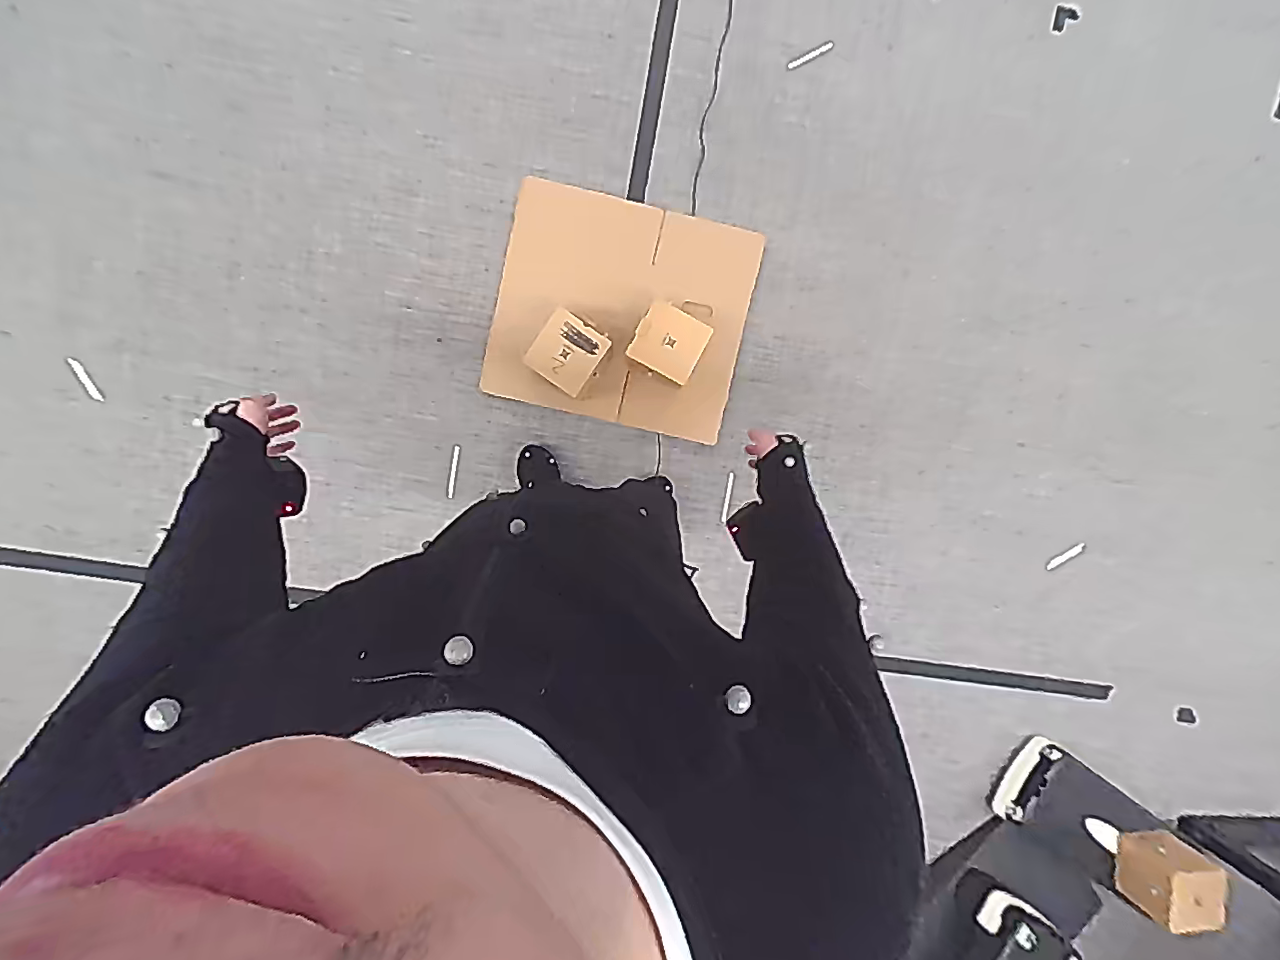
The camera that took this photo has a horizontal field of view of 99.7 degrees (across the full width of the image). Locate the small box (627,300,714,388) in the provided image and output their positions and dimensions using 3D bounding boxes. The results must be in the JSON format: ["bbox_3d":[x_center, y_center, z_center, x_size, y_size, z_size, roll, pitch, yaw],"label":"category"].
[{"bbox_3d":[0.080,-0.360,1.472,0.179,0.176,0.168,28,94,-1],"label":"small box"}]
